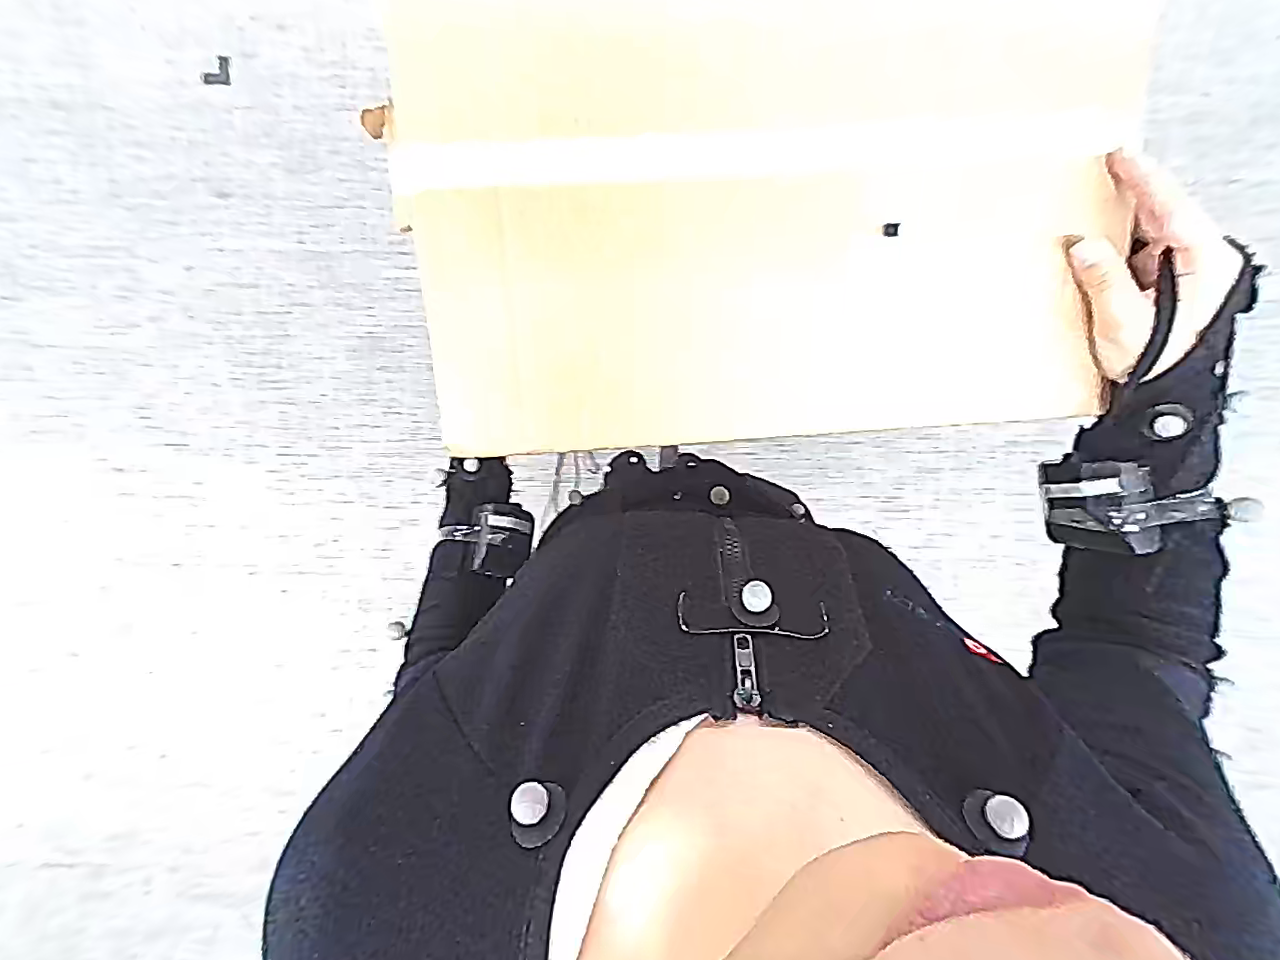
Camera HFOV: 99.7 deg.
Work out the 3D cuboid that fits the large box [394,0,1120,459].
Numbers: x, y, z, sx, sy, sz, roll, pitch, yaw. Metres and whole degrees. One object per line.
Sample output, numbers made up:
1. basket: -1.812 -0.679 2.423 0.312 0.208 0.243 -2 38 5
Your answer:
1. large box: 0.063 -0.209 0.454 0.408 0.320 0.320 -5 102 -4
